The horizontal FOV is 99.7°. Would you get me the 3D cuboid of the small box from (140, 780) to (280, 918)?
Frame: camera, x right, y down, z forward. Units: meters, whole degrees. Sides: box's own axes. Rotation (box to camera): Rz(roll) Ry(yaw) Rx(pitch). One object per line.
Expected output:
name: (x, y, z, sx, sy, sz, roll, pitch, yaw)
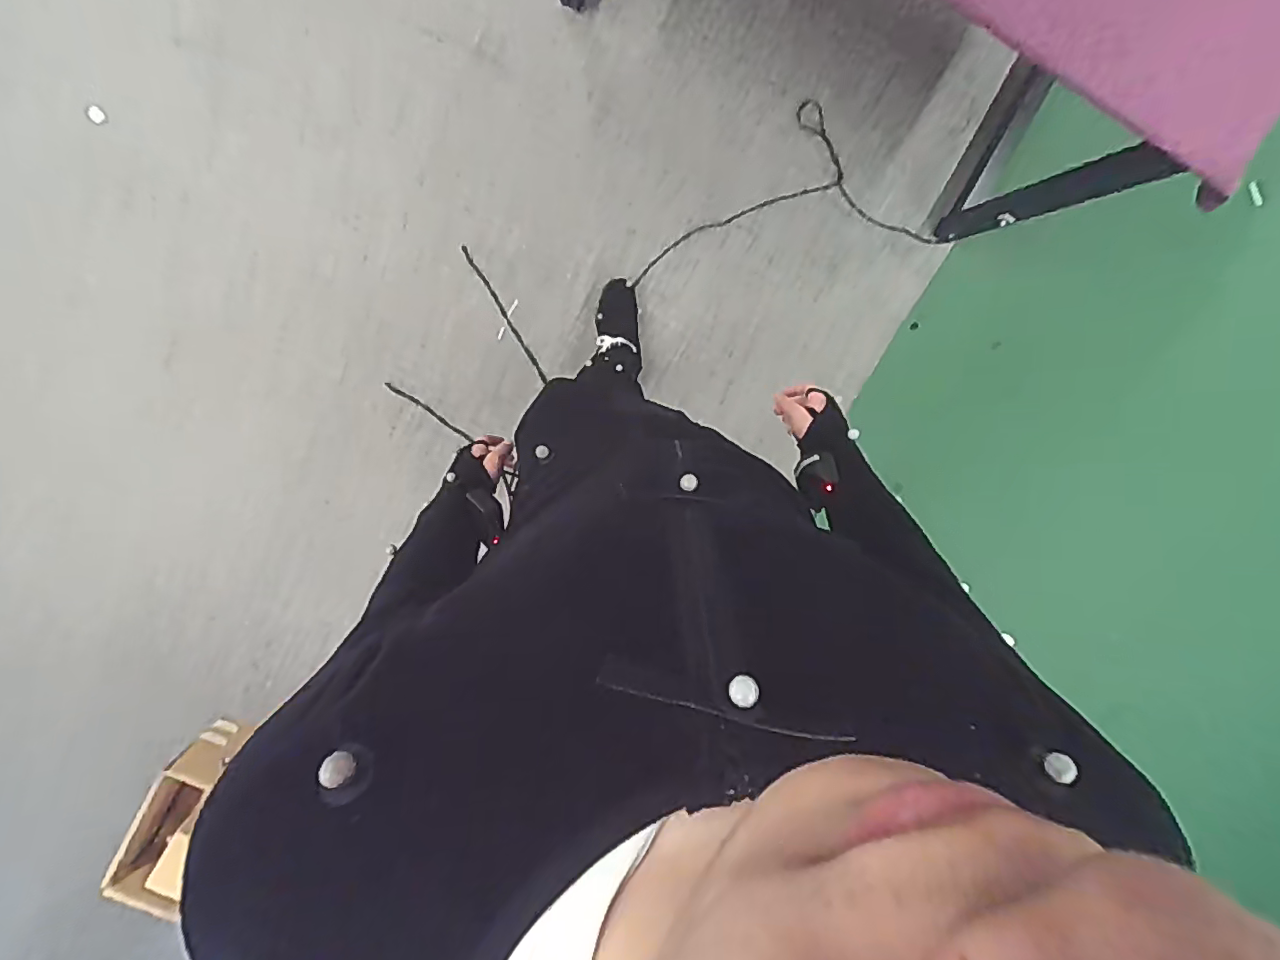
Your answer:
small box: (-0.998, 0.859, 1.272, 0.168, 0.176, 0.179, 33, 99, -10)
